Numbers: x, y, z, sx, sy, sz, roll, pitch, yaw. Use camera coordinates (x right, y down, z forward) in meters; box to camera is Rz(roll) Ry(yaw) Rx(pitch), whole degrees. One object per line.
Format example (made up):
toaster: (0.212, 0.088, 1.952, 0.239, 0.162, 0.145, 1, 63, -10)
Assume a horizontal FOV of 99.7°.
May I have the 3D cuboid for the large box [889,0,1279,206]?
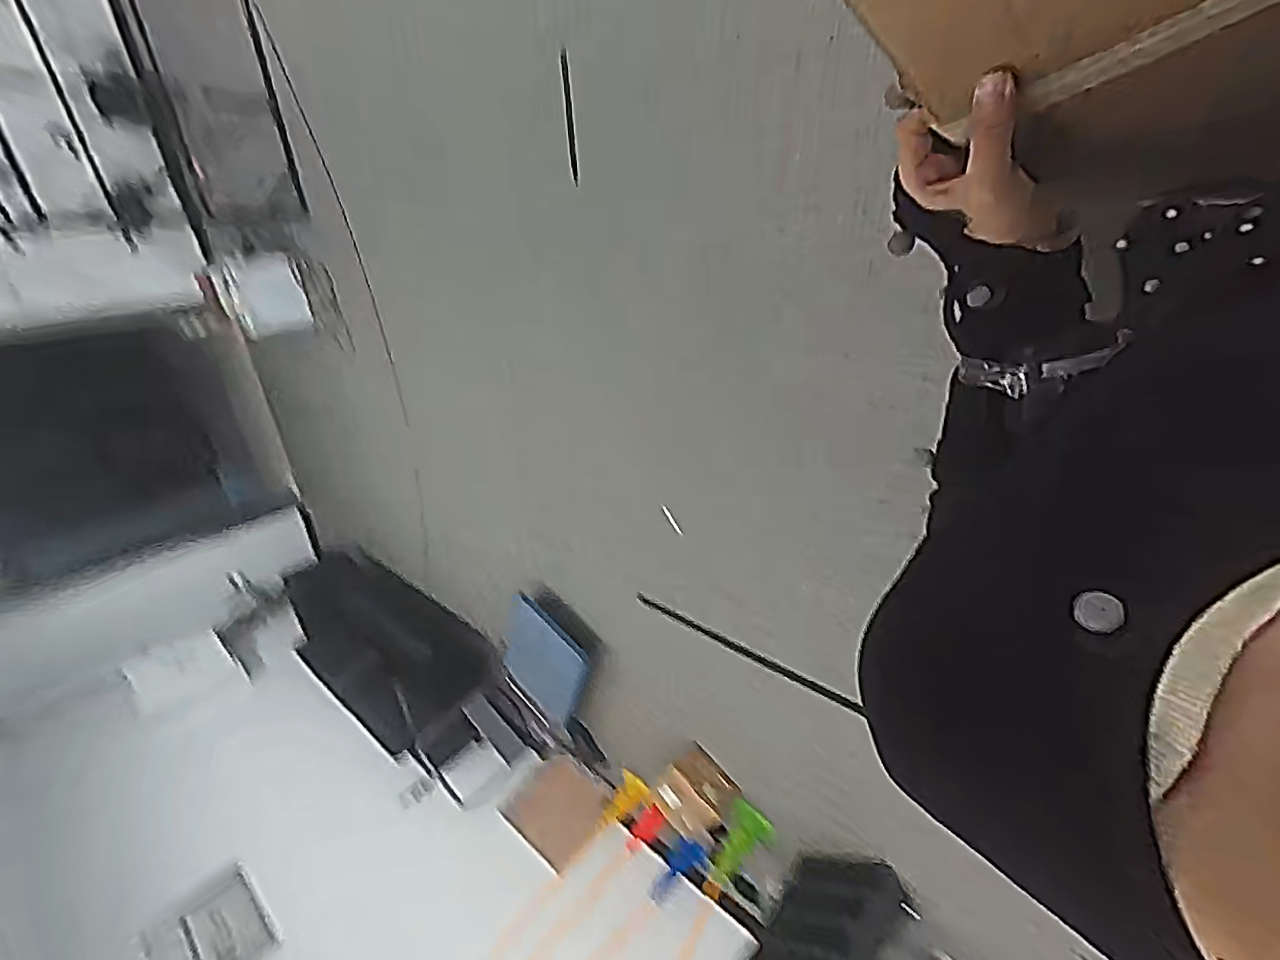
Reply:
large box: (0.292, -0.355, 0.138, 0.408, 0.320, 0.320, -2, 85, 49)
